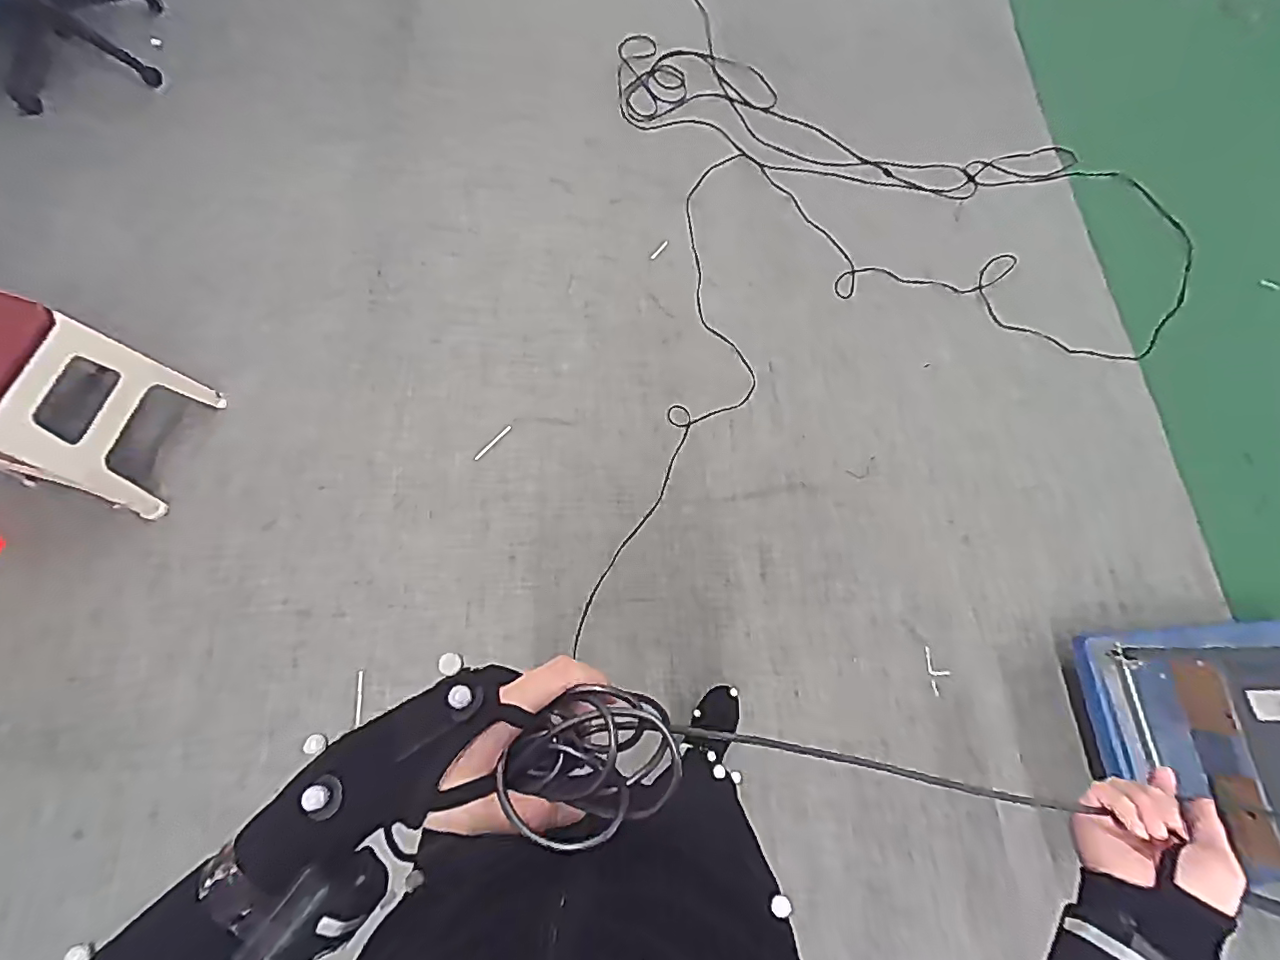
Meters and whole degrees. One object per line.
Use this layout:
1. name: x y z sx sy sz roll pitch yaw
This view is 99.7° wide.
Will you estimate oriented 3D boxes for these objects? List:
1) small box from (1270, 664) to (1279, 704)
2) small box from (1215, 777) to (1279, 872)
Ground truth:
1. small box: 1.708 0.529 1.309 0.179 0.176 0.168 -5 73 -7
2. small box: 1.473 0.777 1.210 0.179 0.176 0.168 -1 72 -4
